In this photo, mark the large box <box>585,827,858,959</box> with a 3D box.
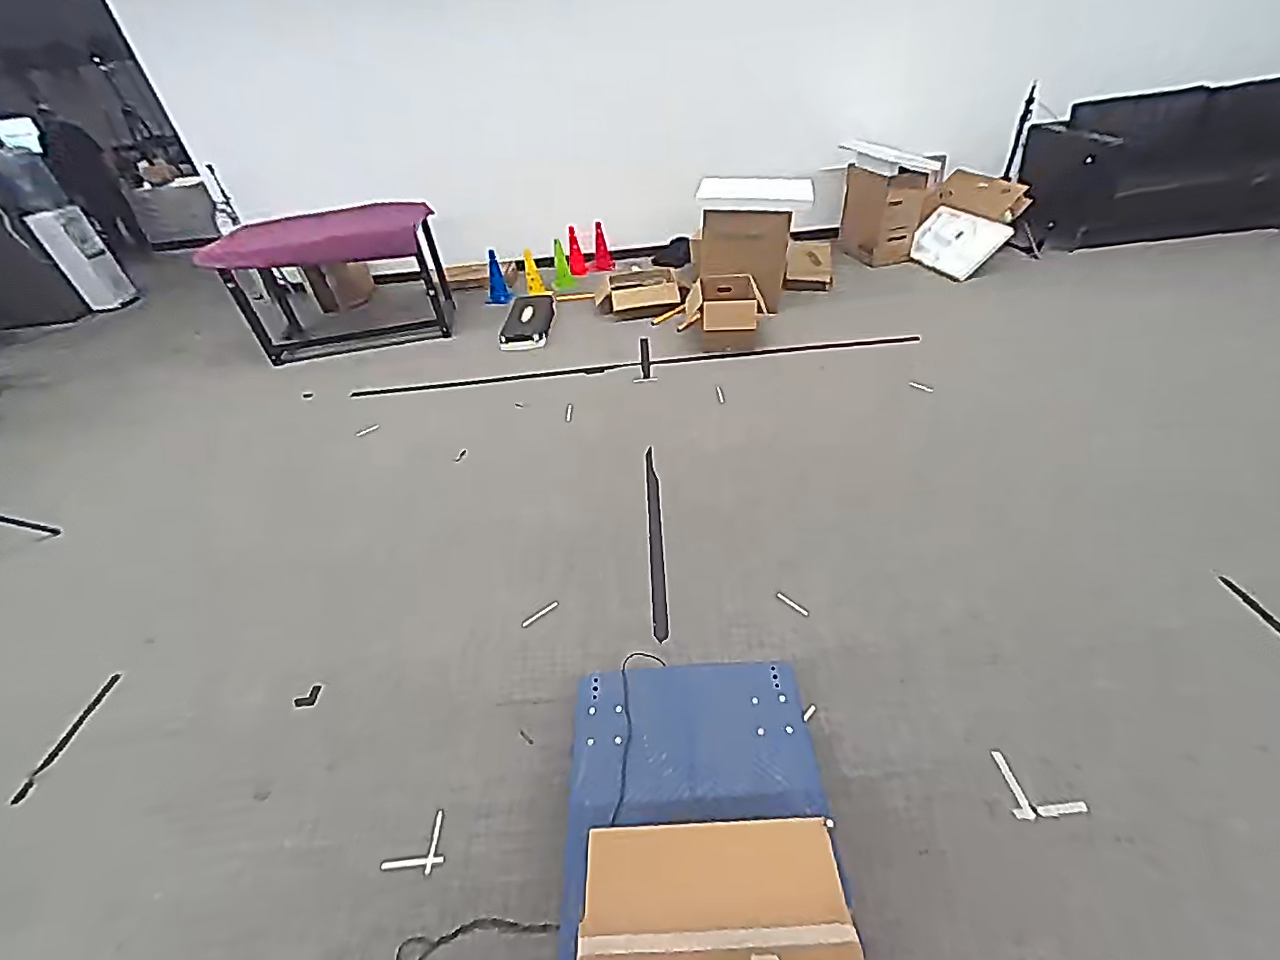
[{"bbox_3d":[0.125,0.810,0.887,0.408,0.320,0.320,-4,39,2],"label":"large box"}]
